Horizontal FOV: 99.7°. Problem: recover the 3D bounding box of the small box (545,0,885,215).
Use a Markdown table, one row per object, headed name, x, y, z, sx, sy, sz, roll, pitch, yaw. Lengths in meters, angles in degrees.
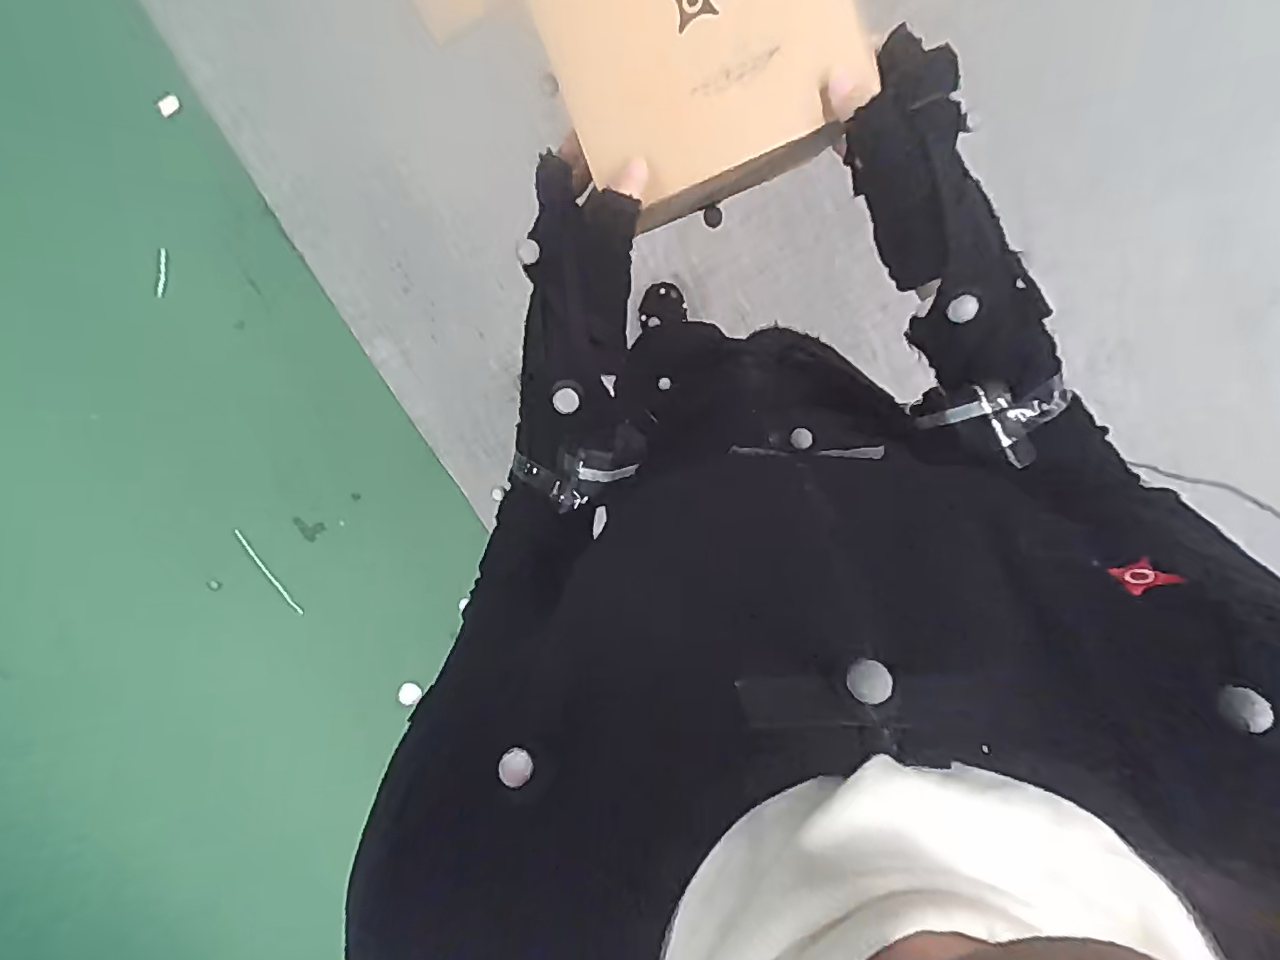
| name | x | y | z | sx | sy | sz | roll | pitch | yaw |
| --- | --- | --- | --- | --- | --- | --- | --- | --- | --- |
| small box | 0.034 | -0.300 | 0.358 | 0.168 | 0.176 | 0.179 | -19 | 109 | 12 |
